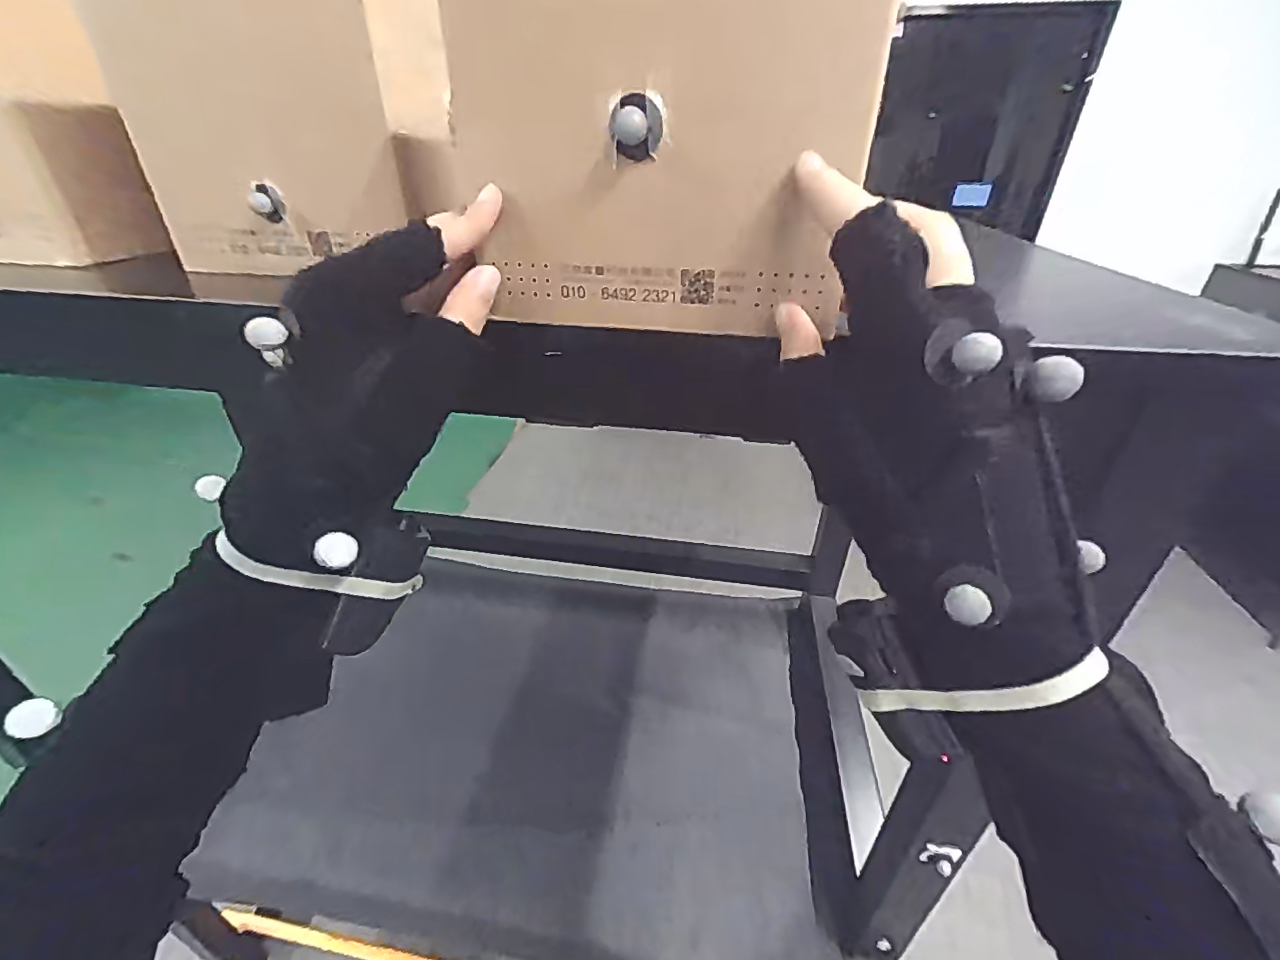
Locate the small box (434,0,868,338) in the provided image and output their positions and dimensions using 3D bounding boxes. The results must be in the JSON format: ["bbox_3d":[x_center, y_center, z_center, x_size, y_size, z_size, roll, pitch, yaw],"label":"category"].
[{"bbox_3d":[0.017,-0.181,0.285,0.168,0.176,0.179,6,32,9],"label":"small box"}]

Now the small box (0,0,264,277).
[{"bbox_3d":[-0.440,-0.258,0.412,0.168,0.176,0.179,6,31,9],"label":"small box"}]
